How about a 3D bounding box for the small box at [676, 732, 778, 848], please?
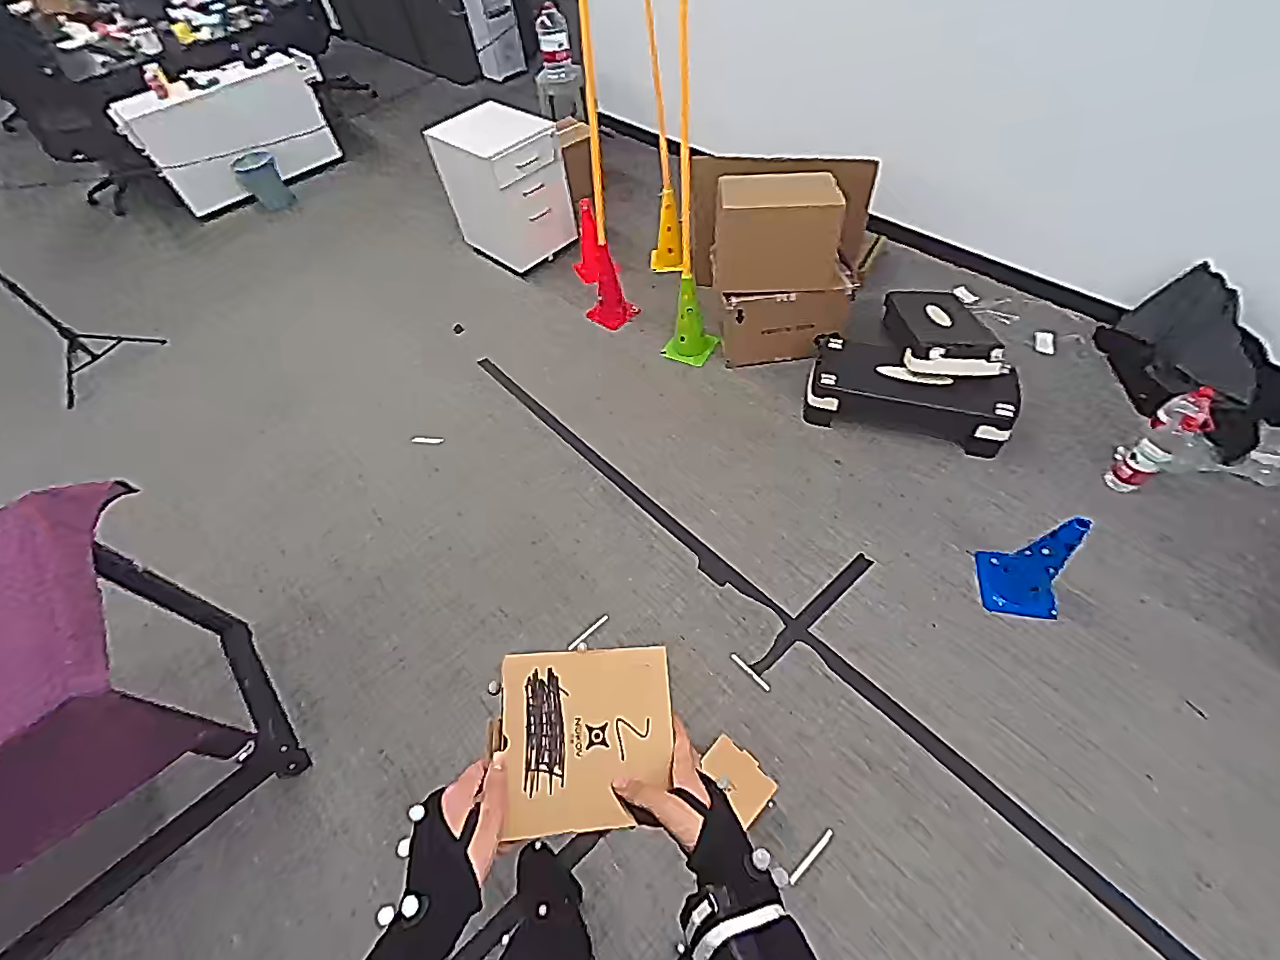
[{"bbox_3d":[0.208,0.751,1.302,0.179,0.176,0.168,-41,60,-21],"label":"small box"}]
